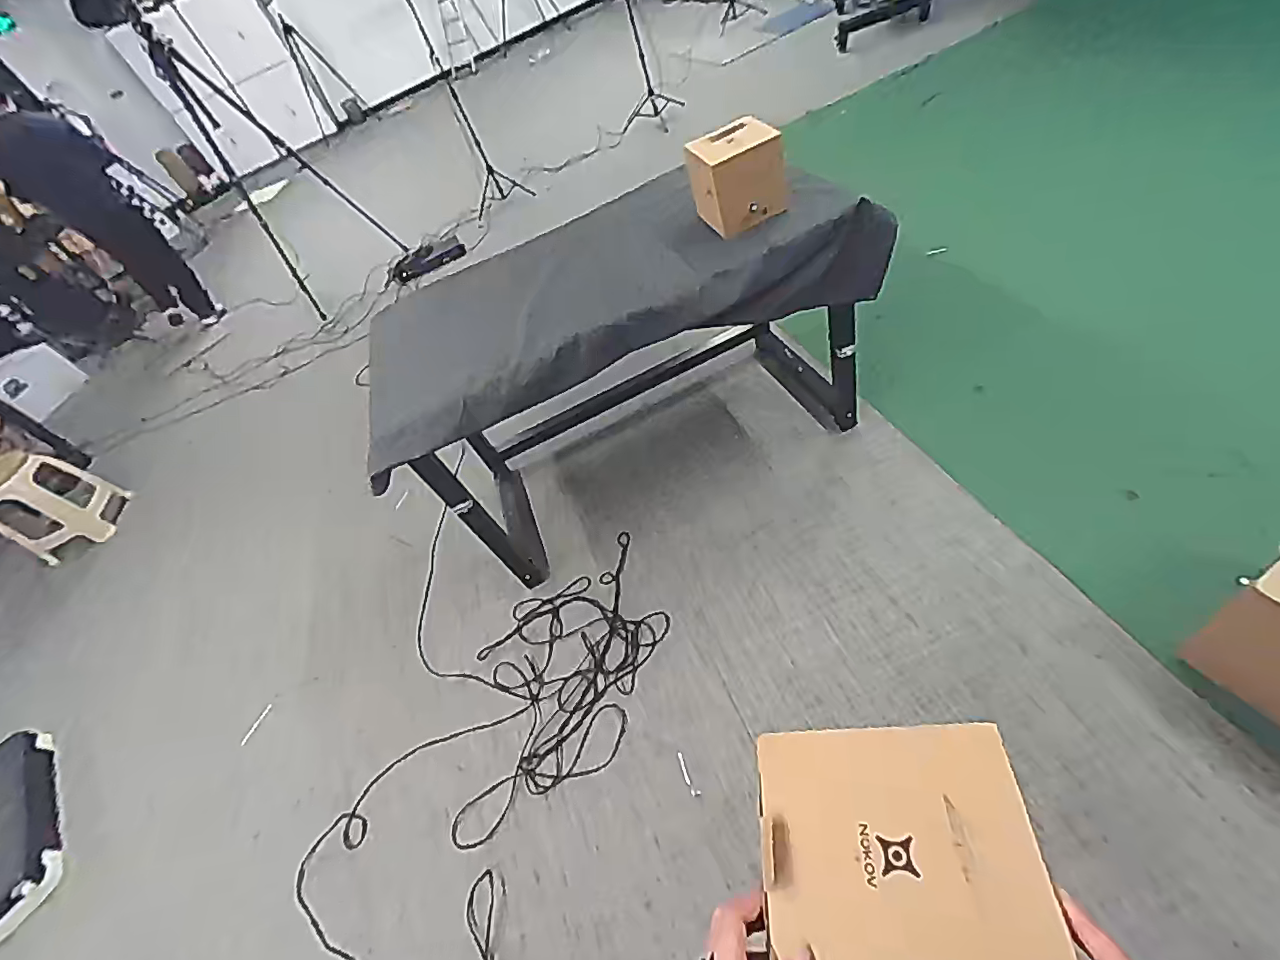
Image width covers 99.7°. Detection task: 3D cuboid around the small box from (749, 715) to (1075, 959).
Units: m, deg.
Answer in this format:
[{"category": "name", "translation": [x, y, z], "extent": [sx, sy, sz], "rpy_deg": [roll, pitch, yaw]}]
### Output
[{"category": "small box", "translation": [0.191, 0.295, 0.407], "extent": [0.179, 0.176, 0.168], "rpy_deg": [-12, 44, 18]}]
